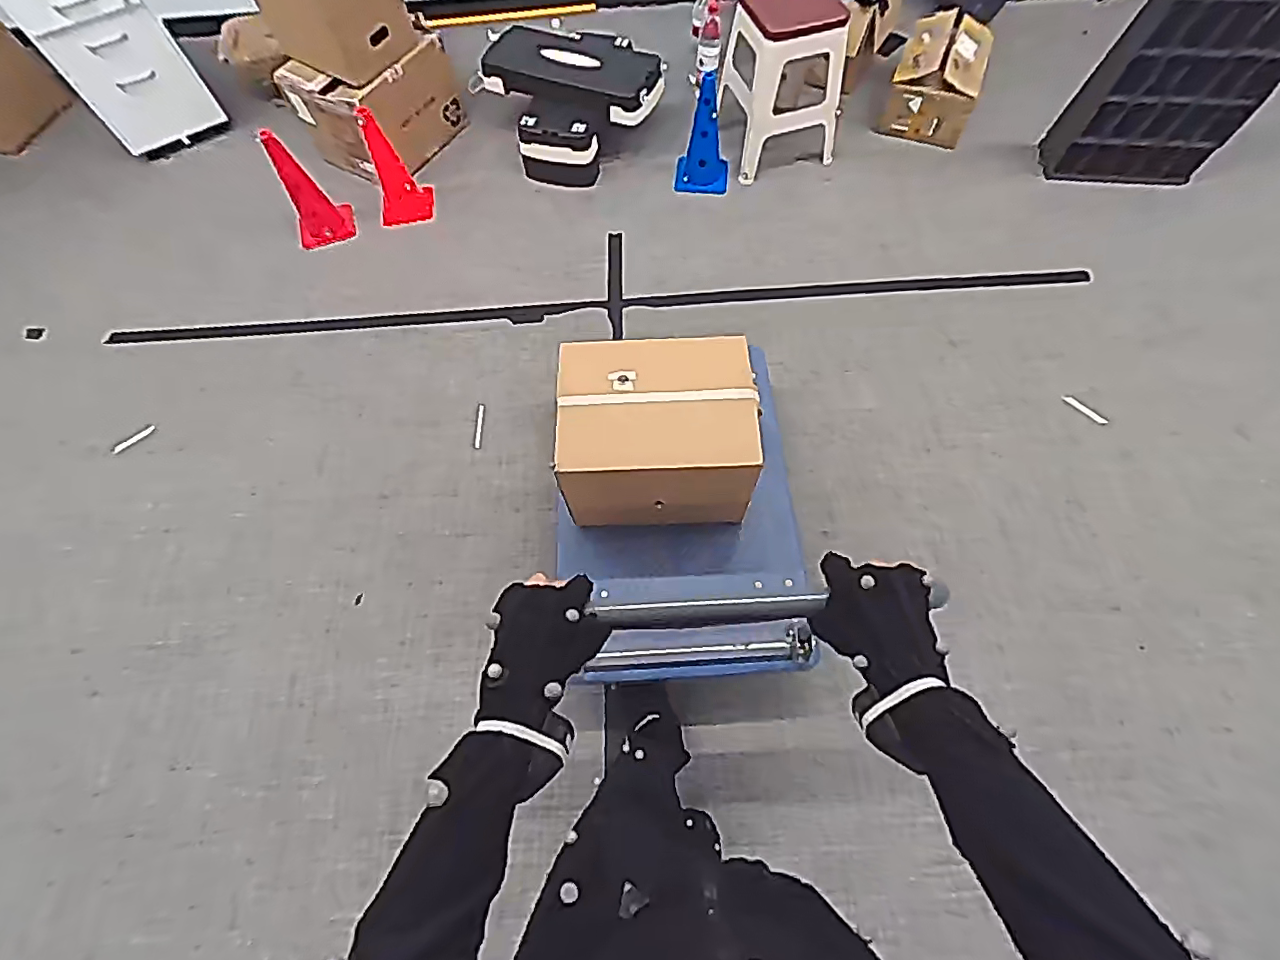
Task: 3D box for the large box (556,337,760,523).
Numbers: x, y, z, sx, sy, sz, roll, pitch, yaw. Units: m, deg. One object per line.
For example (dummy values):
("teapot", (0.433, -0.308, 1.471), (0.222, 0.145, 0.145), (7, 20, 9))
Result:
("large box", (0.038, -0.098, 1.241), (0.408, 0.320, 0.320), (-2, 65, 2))
